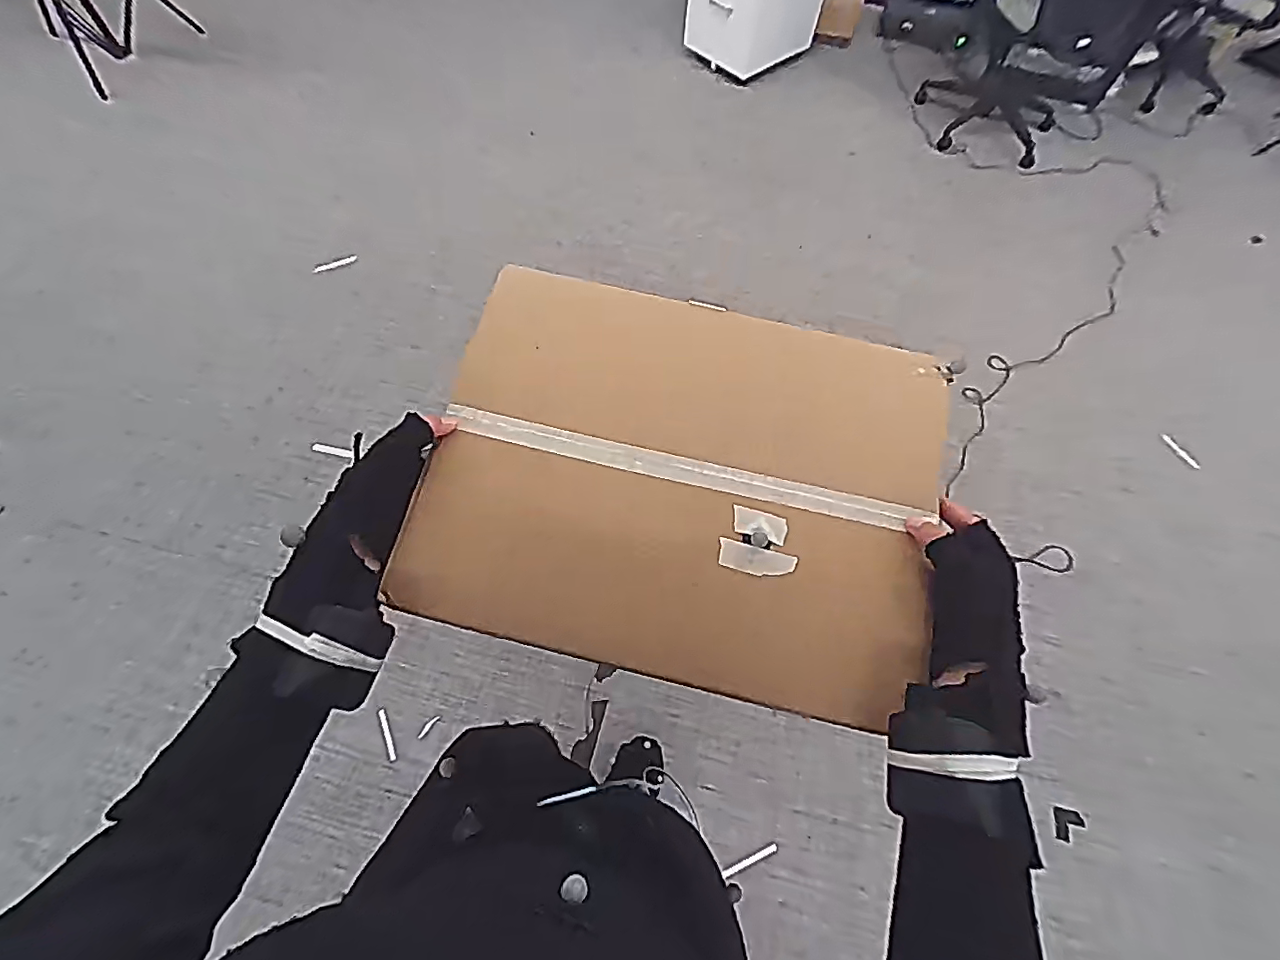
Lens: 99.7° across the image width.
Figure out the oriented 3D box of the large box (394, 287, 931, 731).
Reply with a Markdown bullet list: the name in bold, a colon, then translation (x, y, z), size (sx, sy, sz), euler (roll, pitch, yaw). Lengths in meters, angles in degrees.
- **large box**: translation (0.030, 0.047, 0.589), size (0.408, 0.320, 0.320), euler (14, 73, 2)
